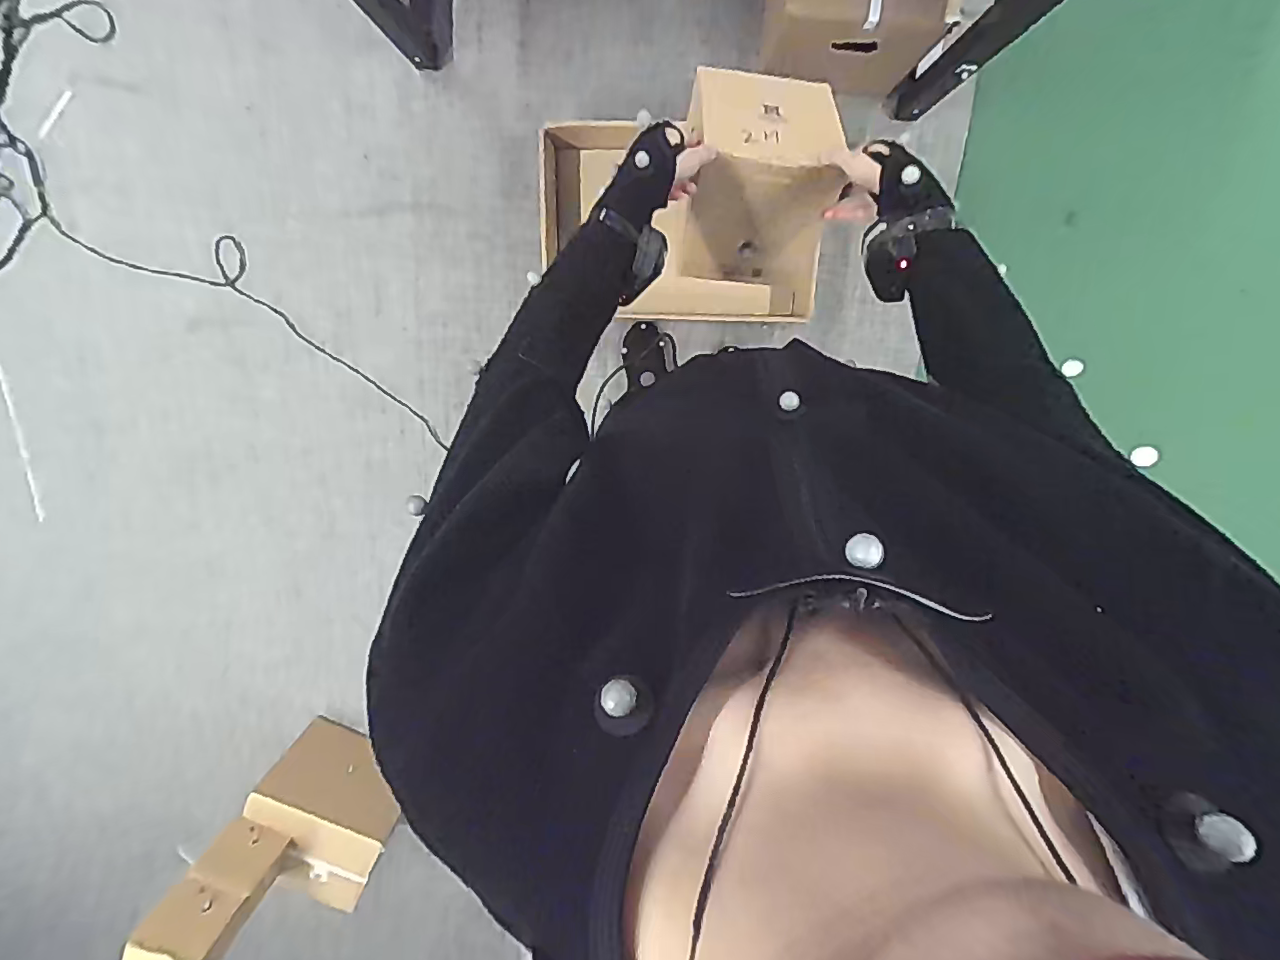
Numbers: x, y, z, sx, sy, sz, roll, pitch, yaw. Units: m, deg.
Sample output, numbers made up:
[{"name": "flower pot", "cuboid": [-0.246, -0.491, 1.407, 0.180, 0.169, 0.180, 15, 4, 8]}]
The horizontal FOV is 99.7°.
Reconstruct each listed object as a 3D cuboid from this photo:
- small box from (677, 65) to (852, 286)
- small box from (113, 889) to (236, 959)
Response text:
[{"name": "small box", "cuboid": [0.140, -0.376, 0.681, 0.168, 0.176, 0.179, 4, 61, -4]}, {"name": "small box", "cuboid": [-1.114, 1.139, 1.291, 0.168, 0.176, 0.179, 23, 104, -4]}]
